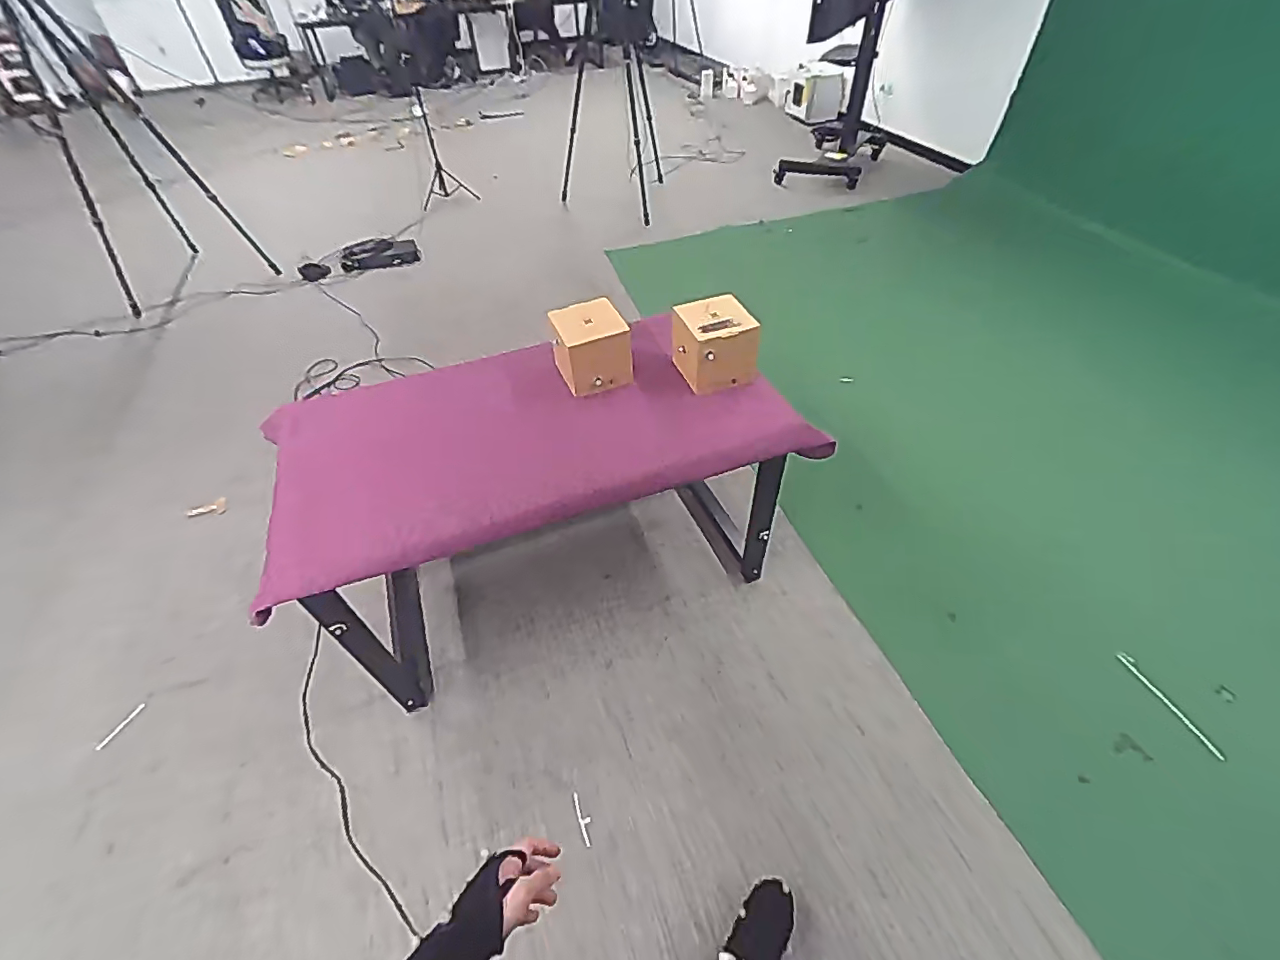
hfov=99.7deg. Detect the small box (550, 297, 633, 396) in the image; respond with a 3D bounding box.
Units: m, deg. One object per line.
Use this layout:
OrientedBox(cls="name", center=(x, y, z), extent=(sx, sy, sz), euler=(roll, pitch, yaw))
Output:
OrientedBox(cls="small box", center=(-0.126, -0.349, 1.417), extent=(0.168, 0.176, 0.179), euler=(-18, 51, -13))
